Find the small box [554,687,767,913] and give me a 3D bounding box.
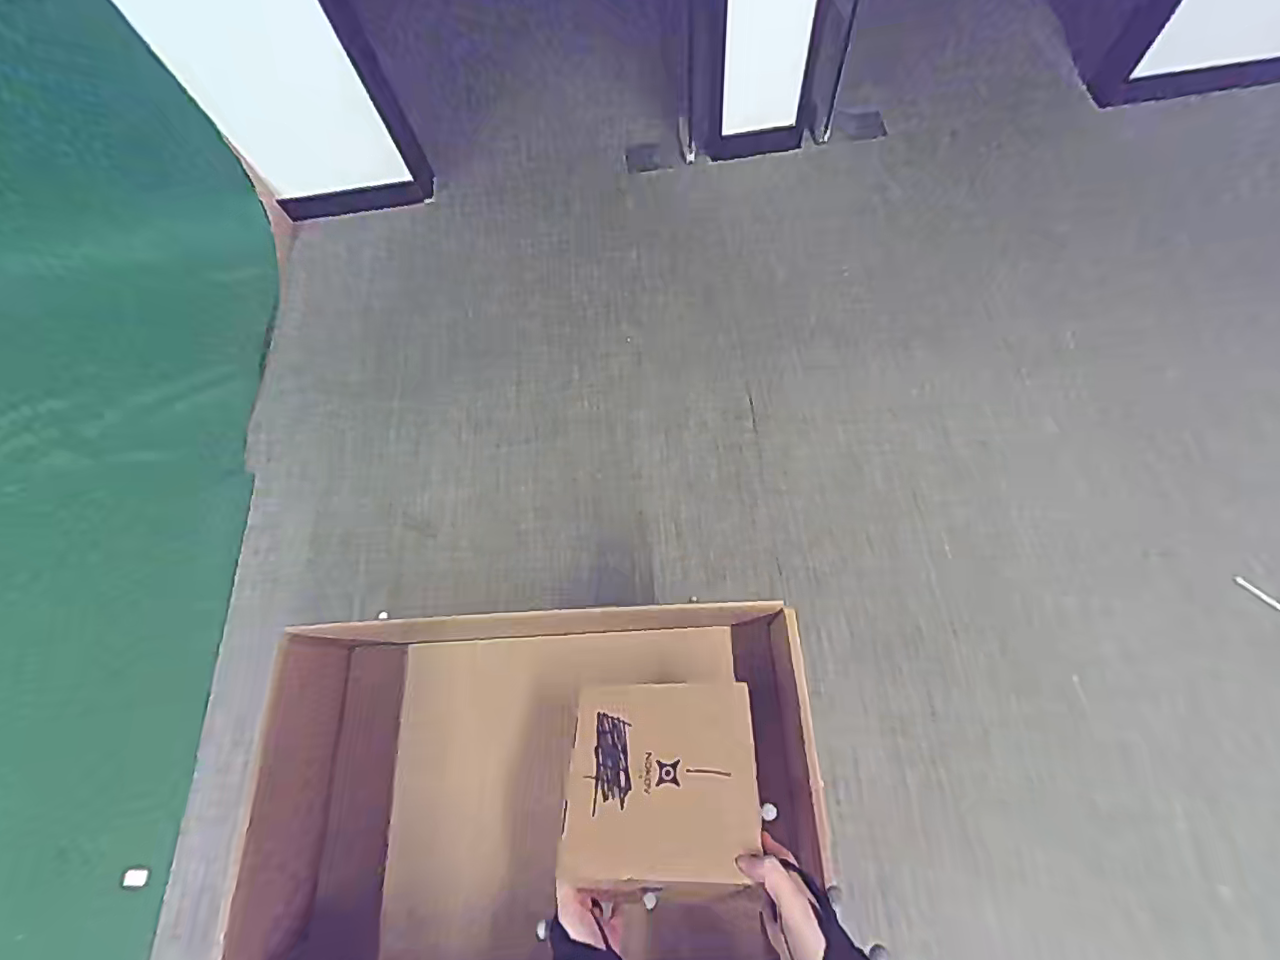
[{"bbox_3d":[0.032,0.328,0.555,0.179,0.176,0.168,-5,45,10],"label":"small box"}]
